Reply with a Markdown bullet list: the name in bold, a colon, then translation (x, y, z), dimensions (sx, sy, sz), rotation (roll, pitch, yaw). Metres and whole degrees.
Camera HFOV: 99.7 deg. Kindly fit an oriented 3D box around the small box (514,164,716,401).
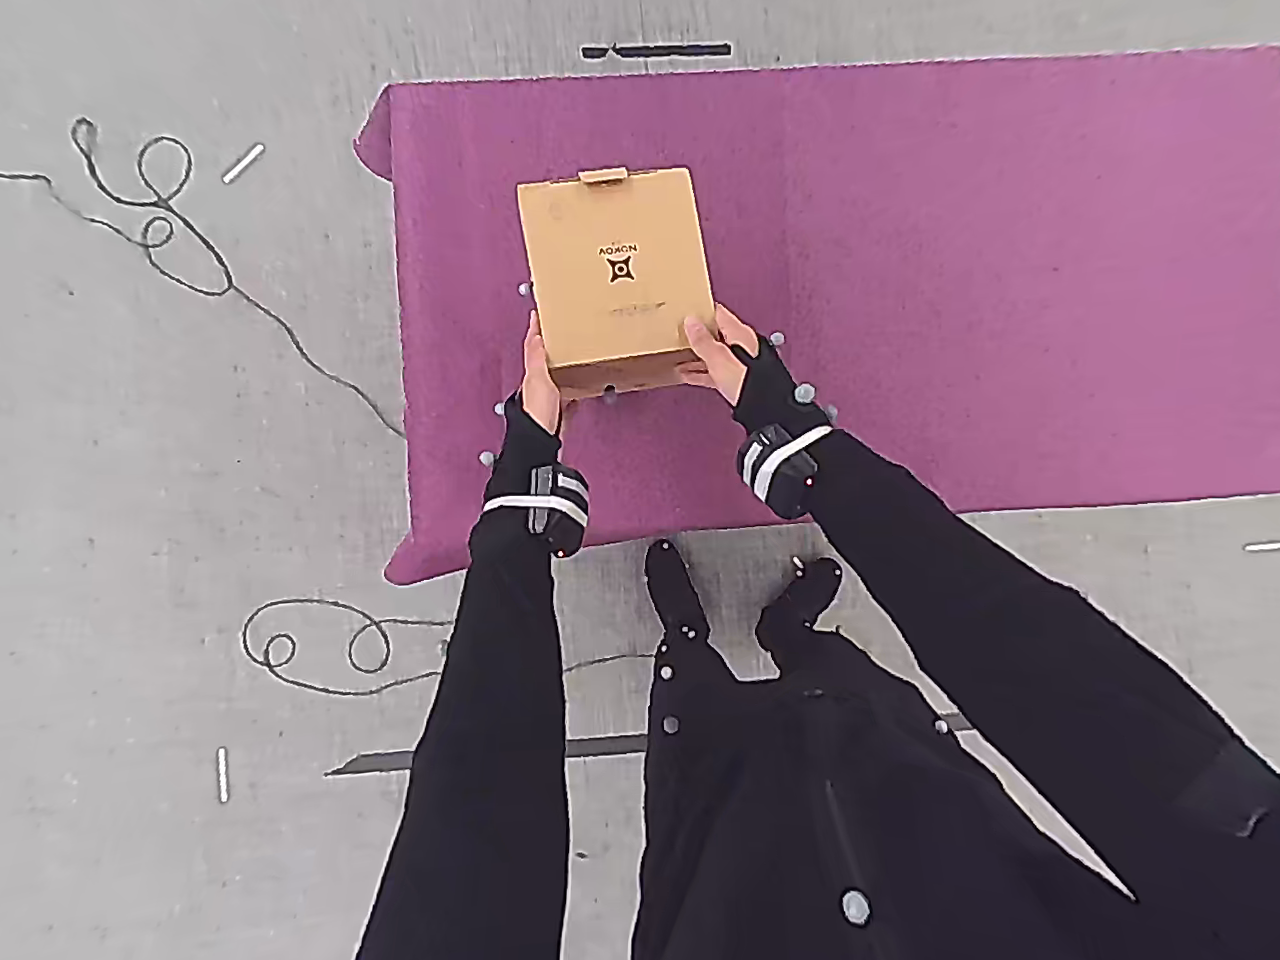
- **small box**: translation (-0.032, -0.194, 0.570), dimensions (0.168, 0.176, 0.179), rotation (-9, 89, -7)
